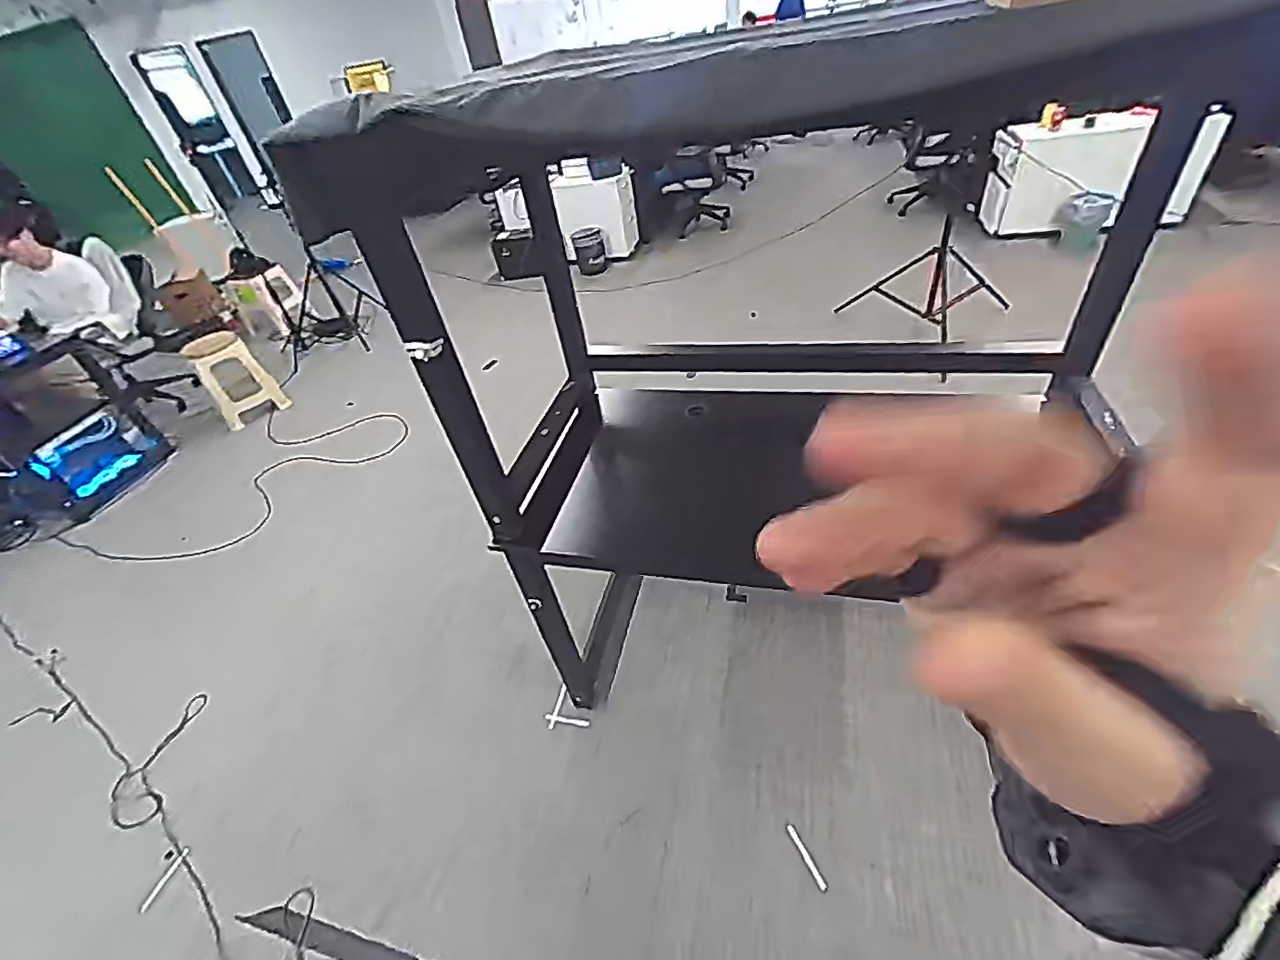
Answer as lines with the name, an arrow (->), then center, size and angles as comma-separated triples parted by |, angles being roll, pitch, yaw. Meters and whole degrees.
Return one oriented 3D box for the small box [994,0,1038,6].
small box -> 0.419, -0.526, 0.456 | 0.168, 0.176, 0.179 | 6, 41, 20
